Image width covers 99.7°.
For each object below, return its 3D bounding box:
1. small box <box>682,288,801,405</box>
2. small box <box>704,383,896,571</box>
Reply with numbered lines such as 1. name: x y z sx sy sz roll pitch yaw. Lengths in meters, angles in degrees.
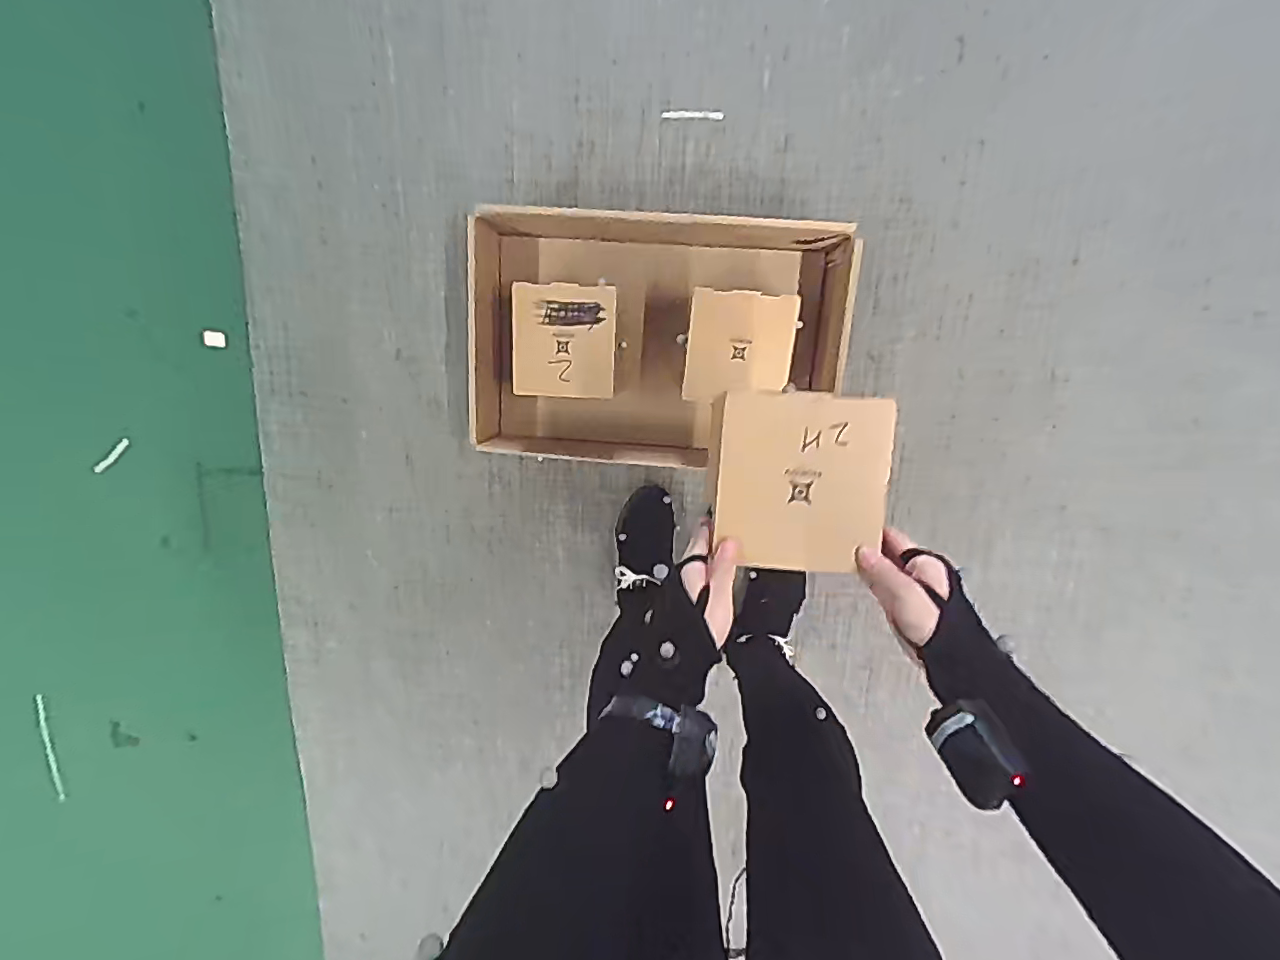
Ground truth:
1. small box: 0.164 -0.221 0.922 0.168 0.176 0.179 6 103 3
2. small box: 0.163 -0.011 0.609 0.168 0.176 0.179 5 96 3
